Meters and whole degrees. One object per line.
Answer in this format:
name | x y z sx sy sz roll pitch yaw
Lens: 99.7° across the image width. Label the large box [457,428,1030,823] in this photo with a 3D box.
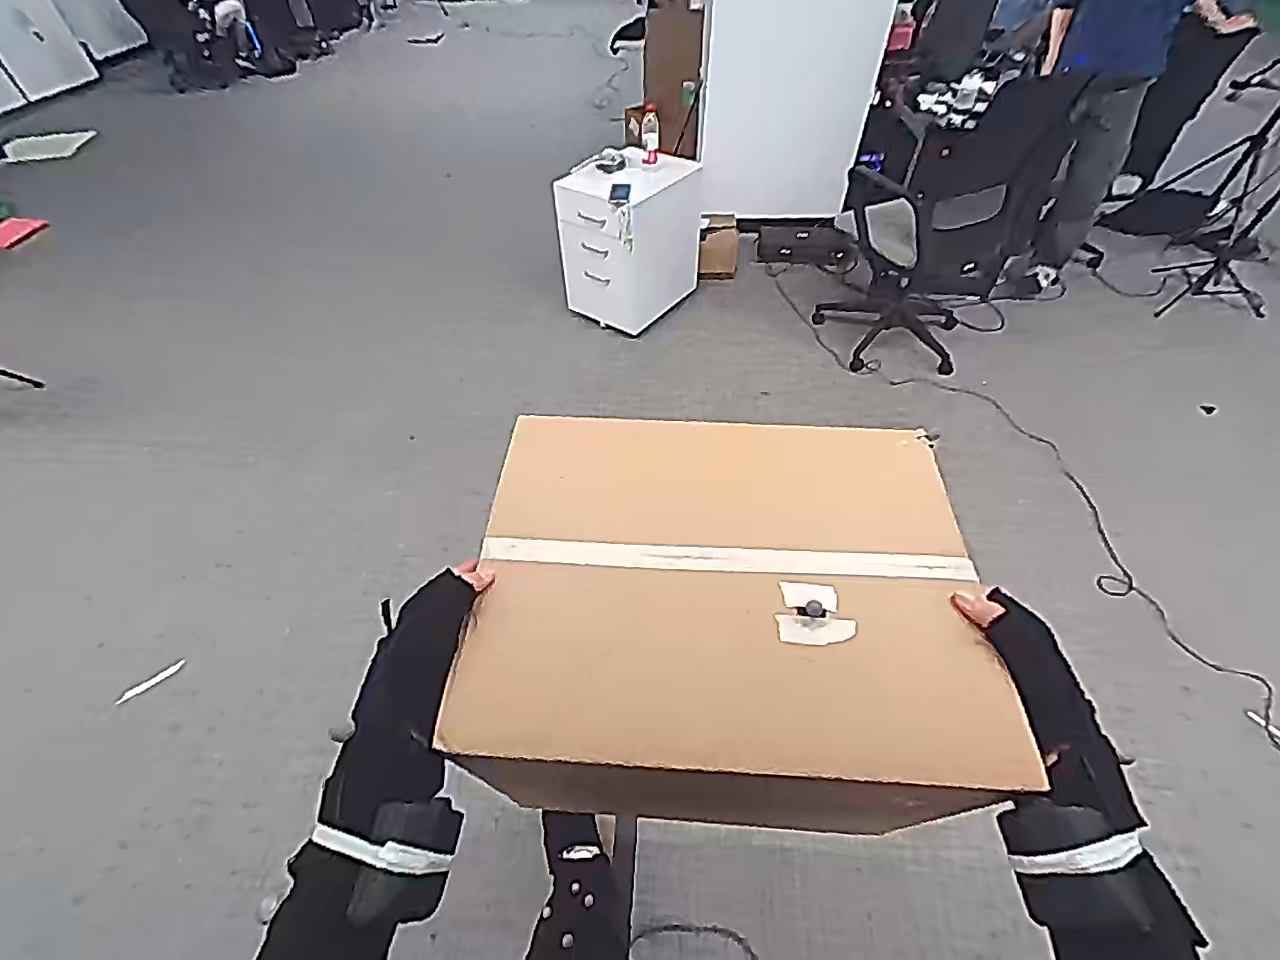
large box | 0.074 0.163 0.577 0.408 0.320 0.320 3 54 2
